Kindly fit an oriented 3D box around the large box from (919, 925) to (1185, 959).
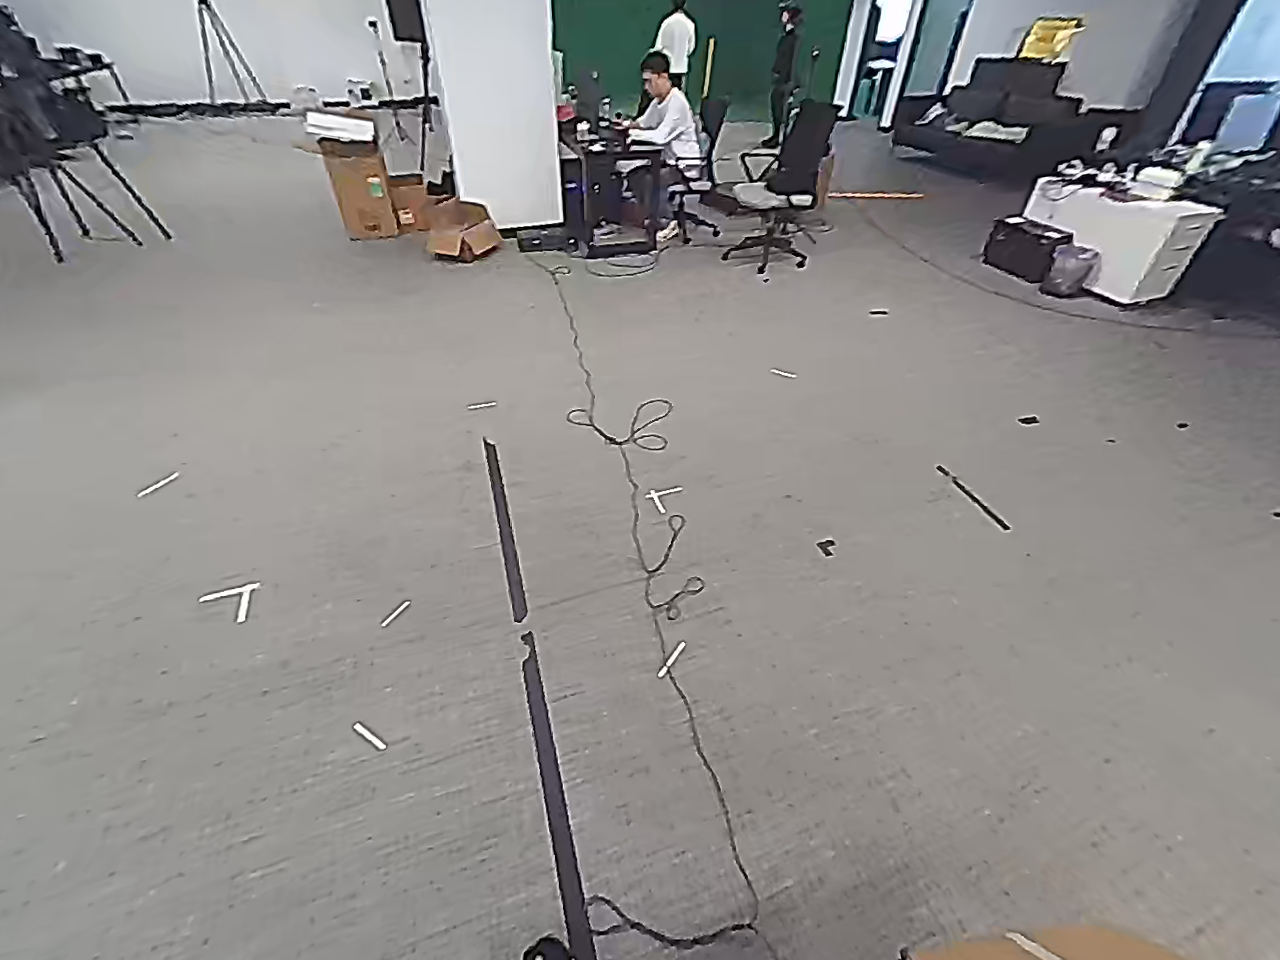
[{"bbox_3d":[0.573,0.747,0.567,0.320,0.408,0.320,-8,67,-1],"label":"large box"}]
